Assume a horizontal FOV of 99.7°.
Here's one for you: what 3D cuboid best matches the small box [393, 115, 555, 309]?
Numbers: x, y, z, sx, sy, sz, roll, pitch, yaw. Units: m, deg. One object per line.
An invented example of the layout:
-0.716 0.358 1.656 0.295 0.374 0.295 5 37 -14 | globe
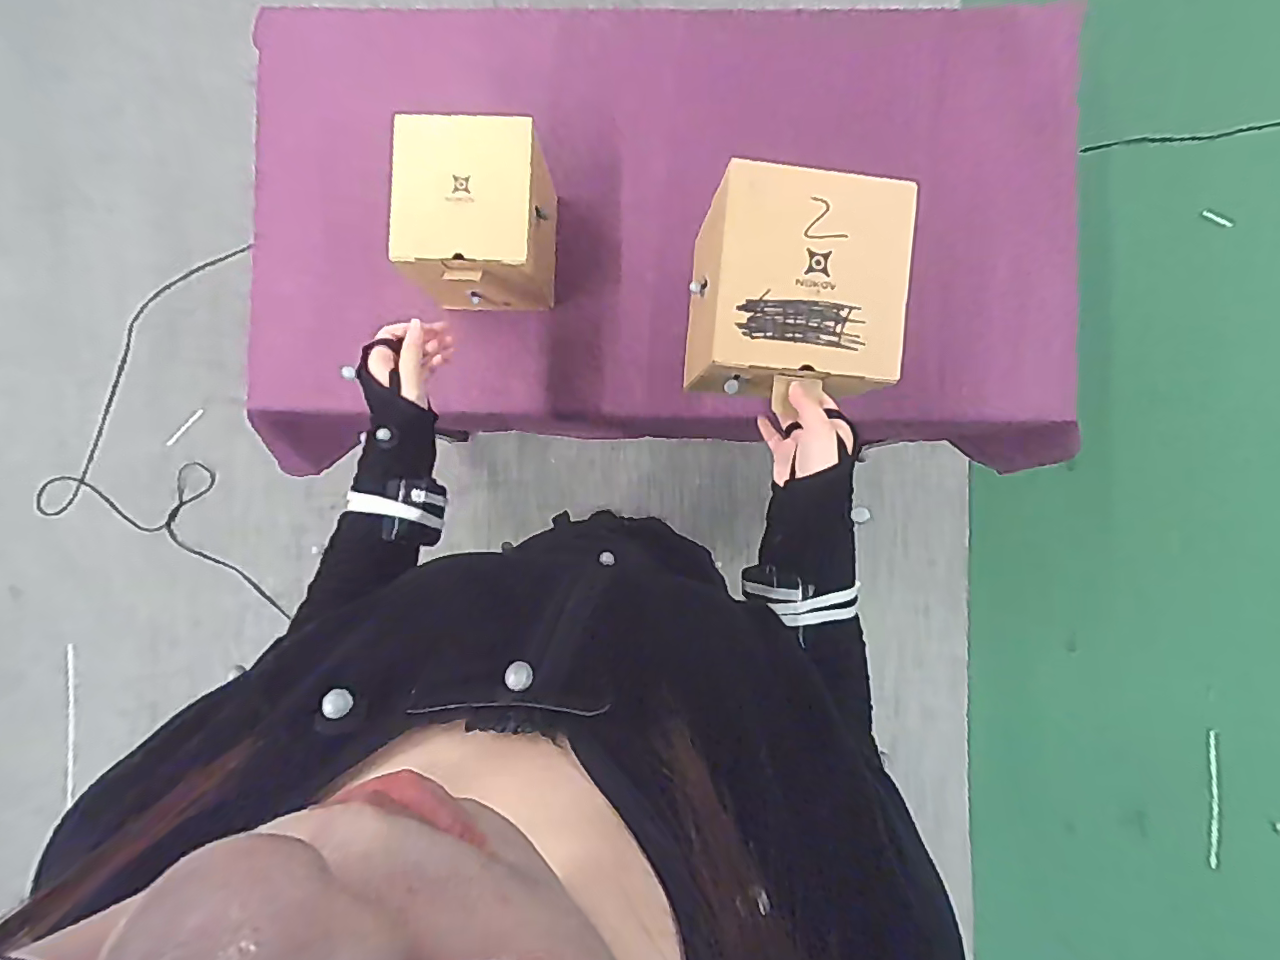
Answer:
-0.211 -0.349 0.729 0.168 0.176 0.179 2 89 1 | small box
